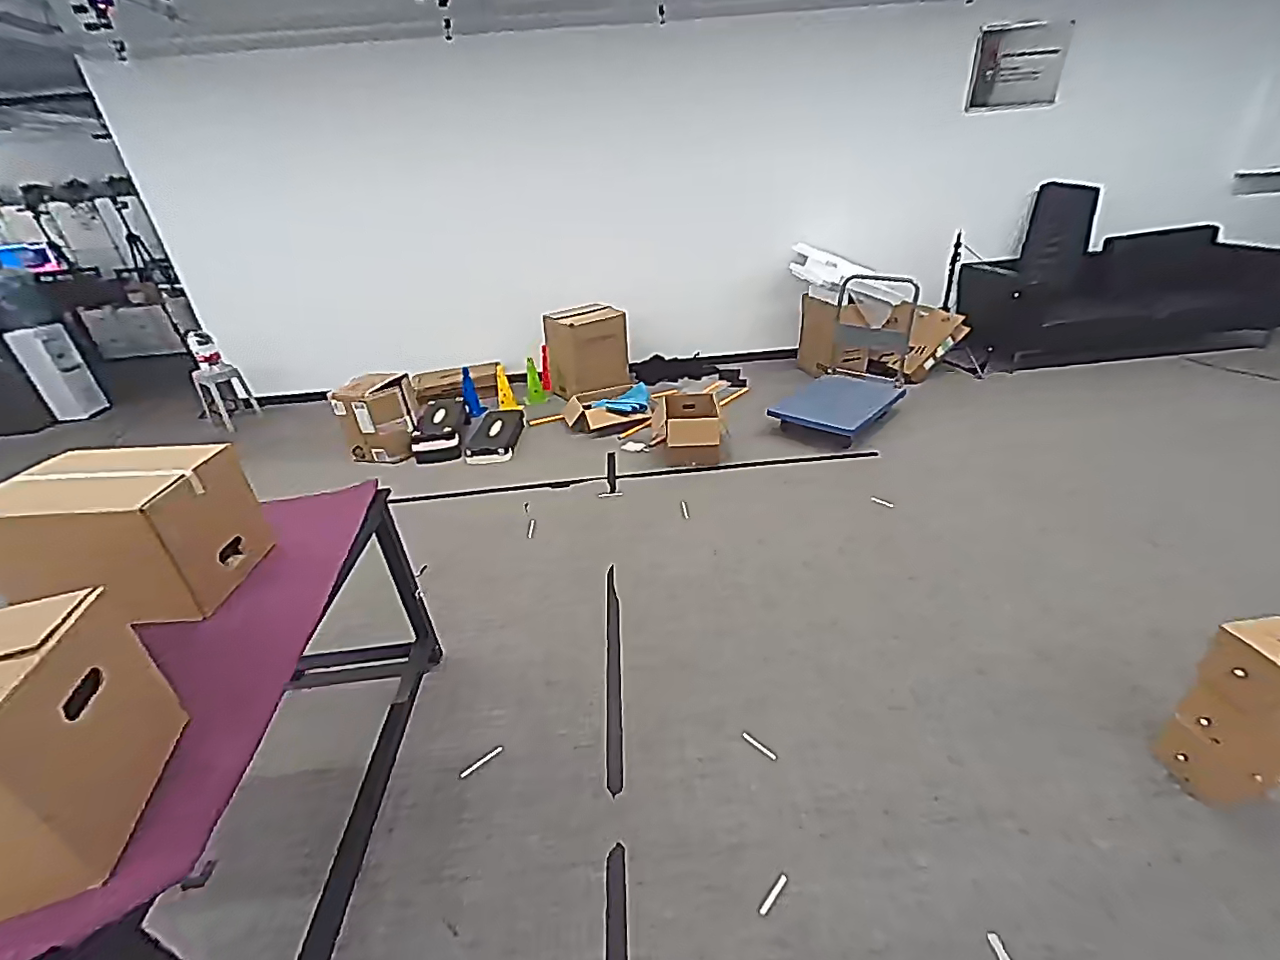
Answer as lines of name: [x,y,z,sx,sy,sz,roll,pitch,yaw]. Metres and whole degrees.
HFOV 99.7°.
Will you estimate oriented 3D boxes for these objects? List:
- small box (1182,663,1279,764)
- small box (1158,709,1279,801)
small box: [1.560,0.594,1.378,0.179,0.176,0.168,-6,29,-1]
small box: [1.563,0.735,1.460,0.179,0.176,0.168,-6,30,-3]
